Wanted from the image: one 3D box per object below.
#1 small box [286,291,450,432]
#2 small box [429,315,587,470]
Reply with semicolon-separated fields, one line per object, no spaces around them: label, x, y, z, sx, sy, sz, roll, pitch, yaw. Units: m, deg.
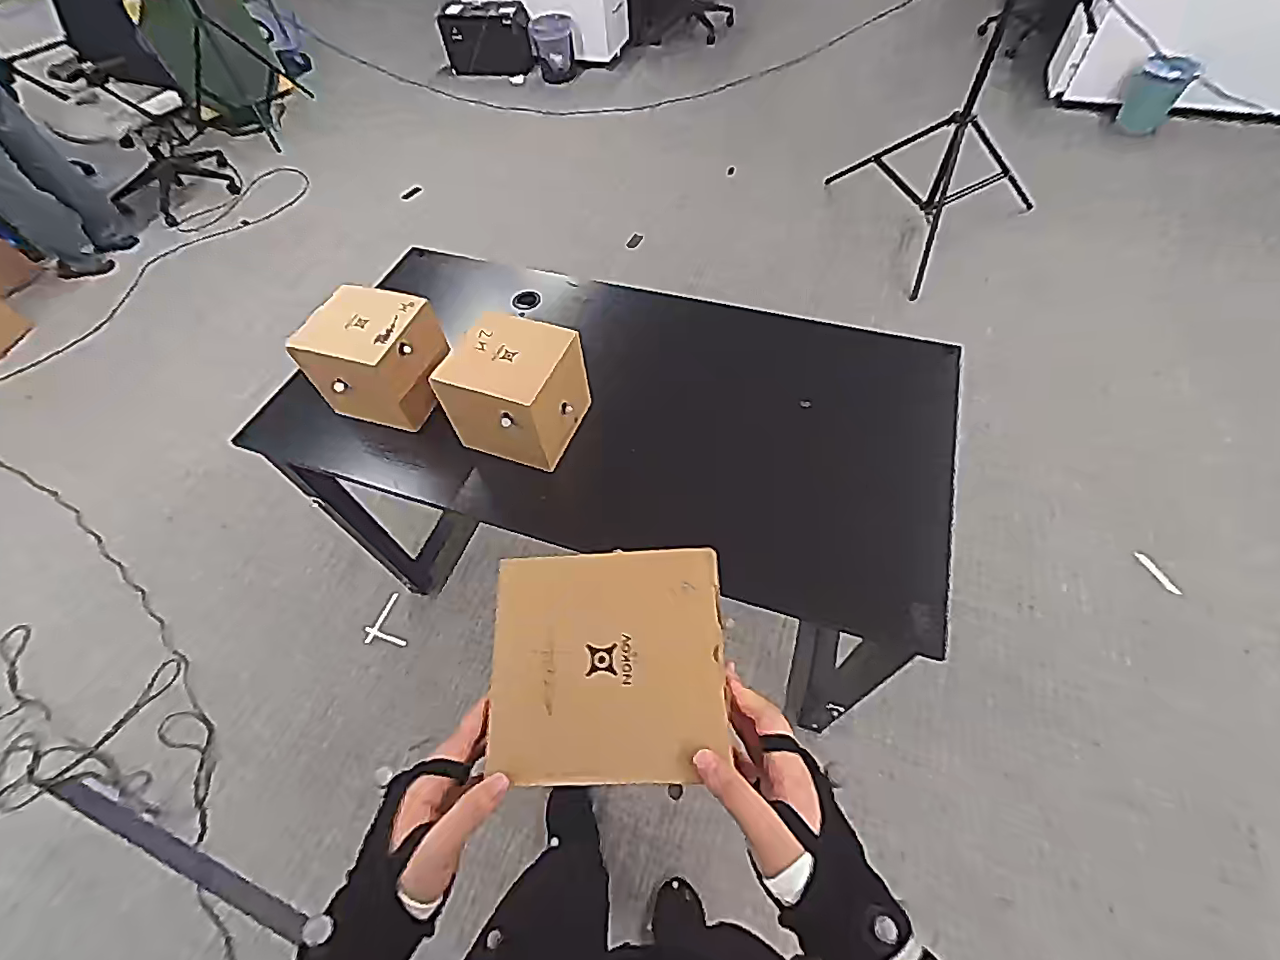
small box;-0.459;-0.206;0.955;0.179;0.176;0.168;13;58;13
small box;-0.202;-0.139;0.891;0.179;0.176;0.168;16;58;14
